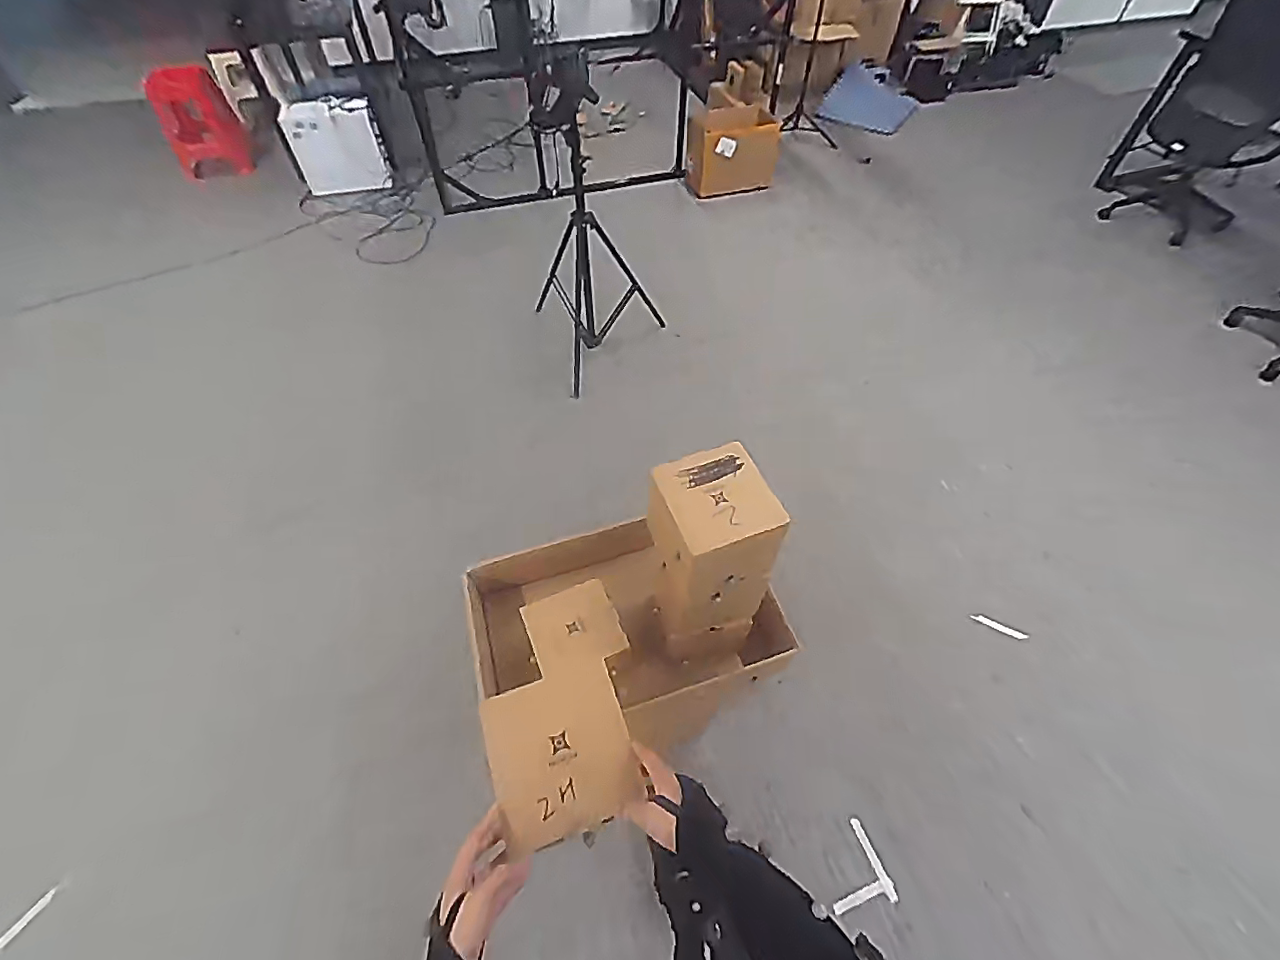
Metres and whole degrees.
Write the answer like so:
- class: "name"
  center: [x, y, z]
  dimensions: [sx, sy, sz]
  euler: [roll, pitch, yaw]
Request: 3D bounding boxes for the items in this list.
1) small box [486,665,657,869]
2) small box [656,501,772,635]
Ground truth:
- class: "small box"
  center: [-0.088, 0.370, 0.703]
  dimensions: [0.168, 0.176, 0.179]
  euler: [-17, 60, -12]
- class: "small box"
  center: [0.130, 0.170, 1.038]
  dimensions: [0.168, 0.176, 0.179]
  euler: [-13, 53, -8]
